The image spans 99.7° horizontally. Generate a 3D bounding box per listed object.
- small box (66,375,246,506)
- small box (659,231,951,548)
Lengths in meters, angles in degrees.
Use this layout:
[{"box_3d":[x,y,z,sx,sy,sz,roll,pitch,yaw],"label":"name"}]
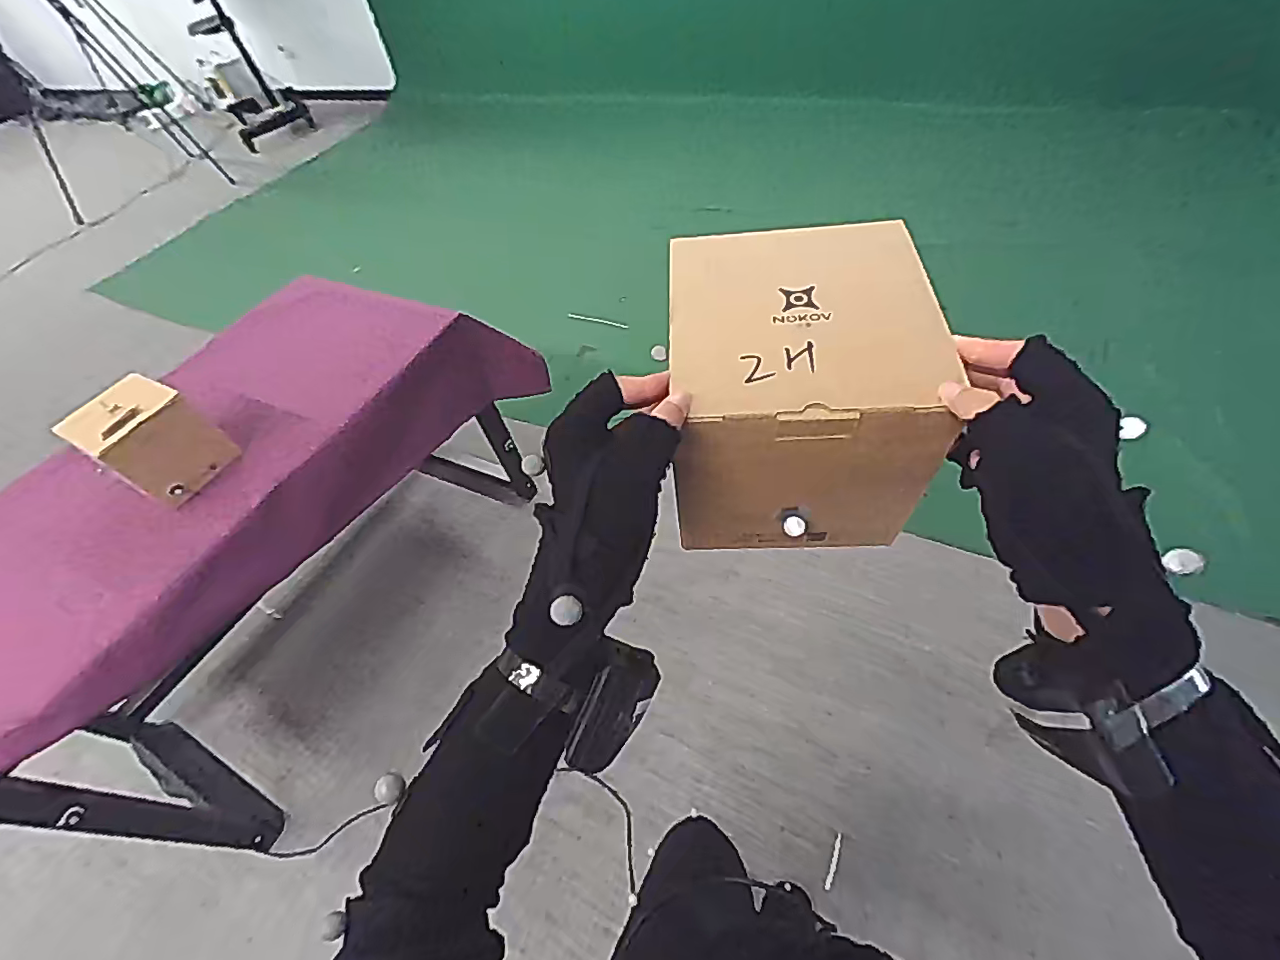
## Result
[{"box_3d":[-0.933,-0.073,1.060,0.179,0.176,0.168,20,58,24],"label":"small box"},{"box_3d":[0.105,-0.063,0.420,0.168,0.176,0.179,-2,56,7],"label":"small box"}]
